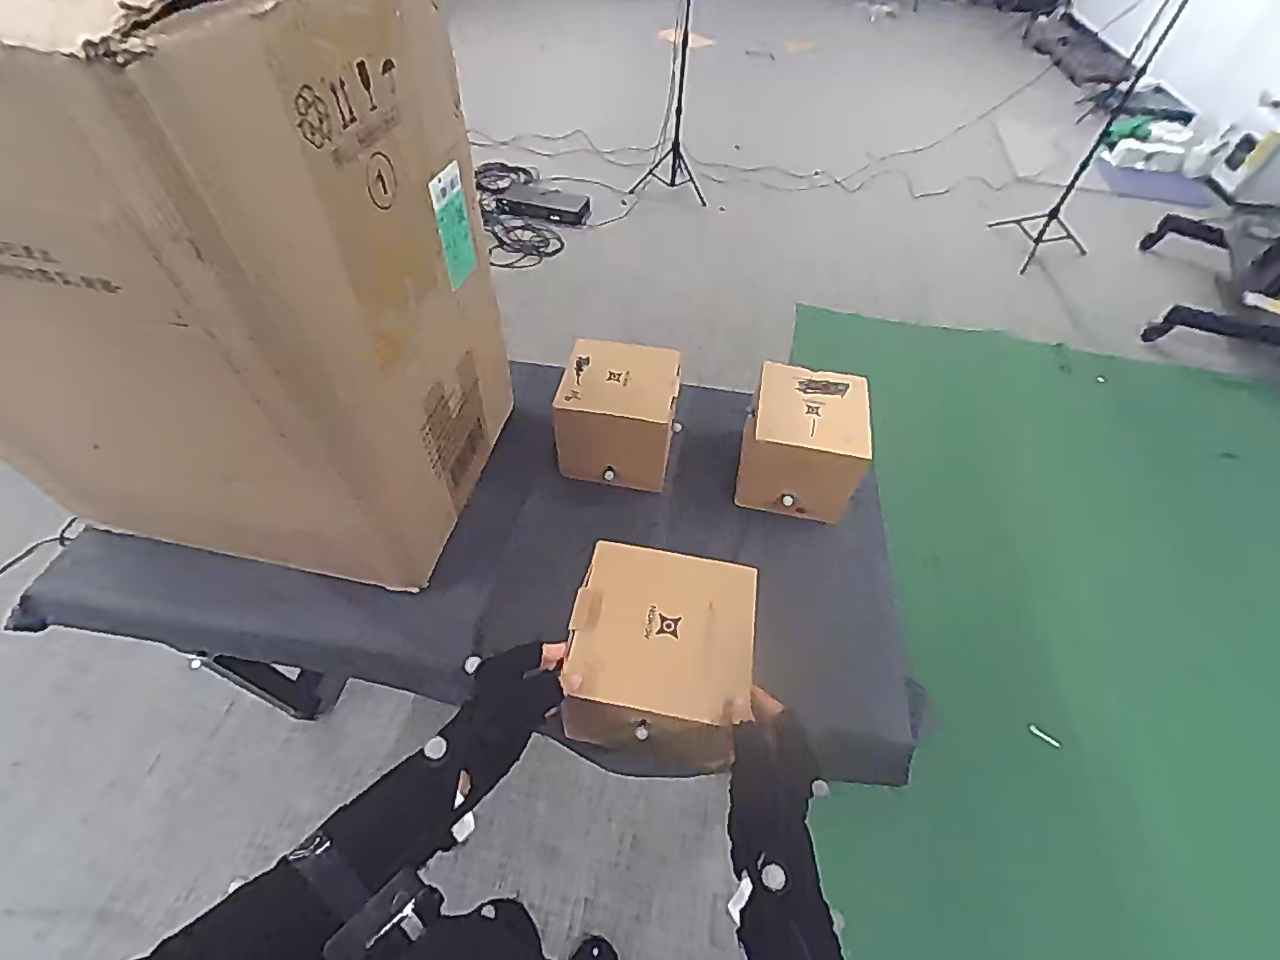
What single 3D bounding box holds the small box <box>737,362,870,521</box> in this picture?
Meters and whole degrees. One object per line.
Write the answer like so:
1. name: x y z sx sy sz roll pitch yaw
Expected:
1. small box: 0.259 -0.061 0.881 0.168 0.176 0.179 11 53 6
